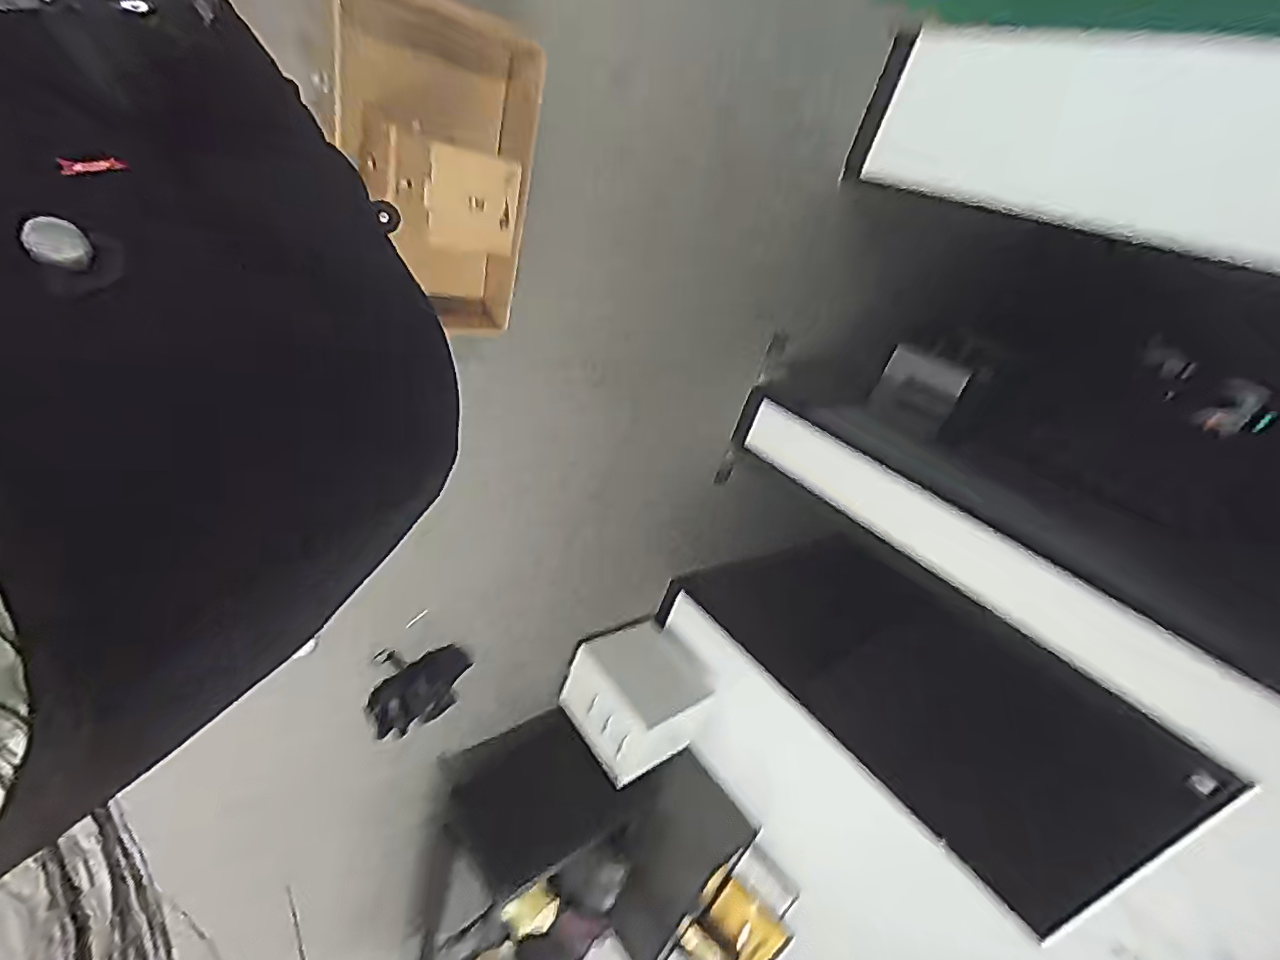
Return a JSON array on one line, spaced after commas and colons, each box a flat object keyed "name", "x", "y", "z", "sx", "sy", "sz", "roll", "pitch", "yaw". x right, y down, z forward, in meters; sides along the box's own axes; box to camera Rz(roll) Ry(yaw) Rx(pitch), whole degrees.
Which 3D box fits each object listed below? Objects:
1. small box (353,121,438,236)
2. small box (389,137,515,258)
[{"name": "small box", "x": -0.488, "y": -0.622, "z": 1.134, "sx": 0.168, "sy": 0.176, "sz": 0.179, "roll": -12, "pitch": 131, "yaw": -42}, {"name": "small box", "x": -0.370, "y": -0.547, "z": 1.049, "sx": 0.179, "sy": 0.176, "sz": 0.168, "roll": -11, "pitch": 129, "yaw": -42}]
